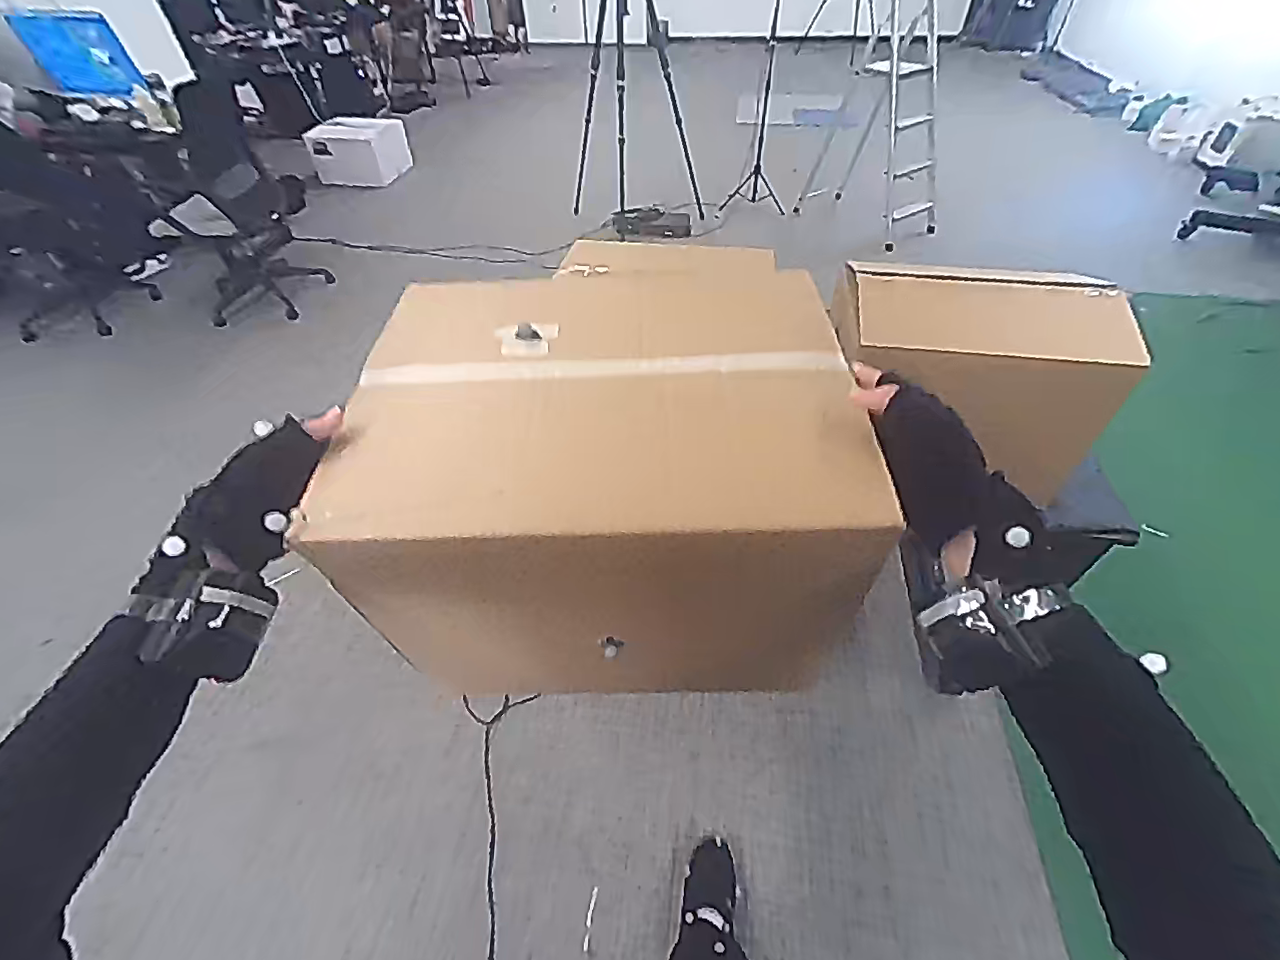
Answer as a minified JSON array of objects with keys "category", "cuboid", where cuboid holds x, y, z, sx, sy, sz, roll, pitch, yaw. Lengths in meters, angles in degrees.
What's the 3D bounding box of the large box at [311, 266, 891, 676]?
[{"category":"large box","cuboid":[-0.022,0.004,0.572,0.408,0.320,0.320,-2,50,2]}]
